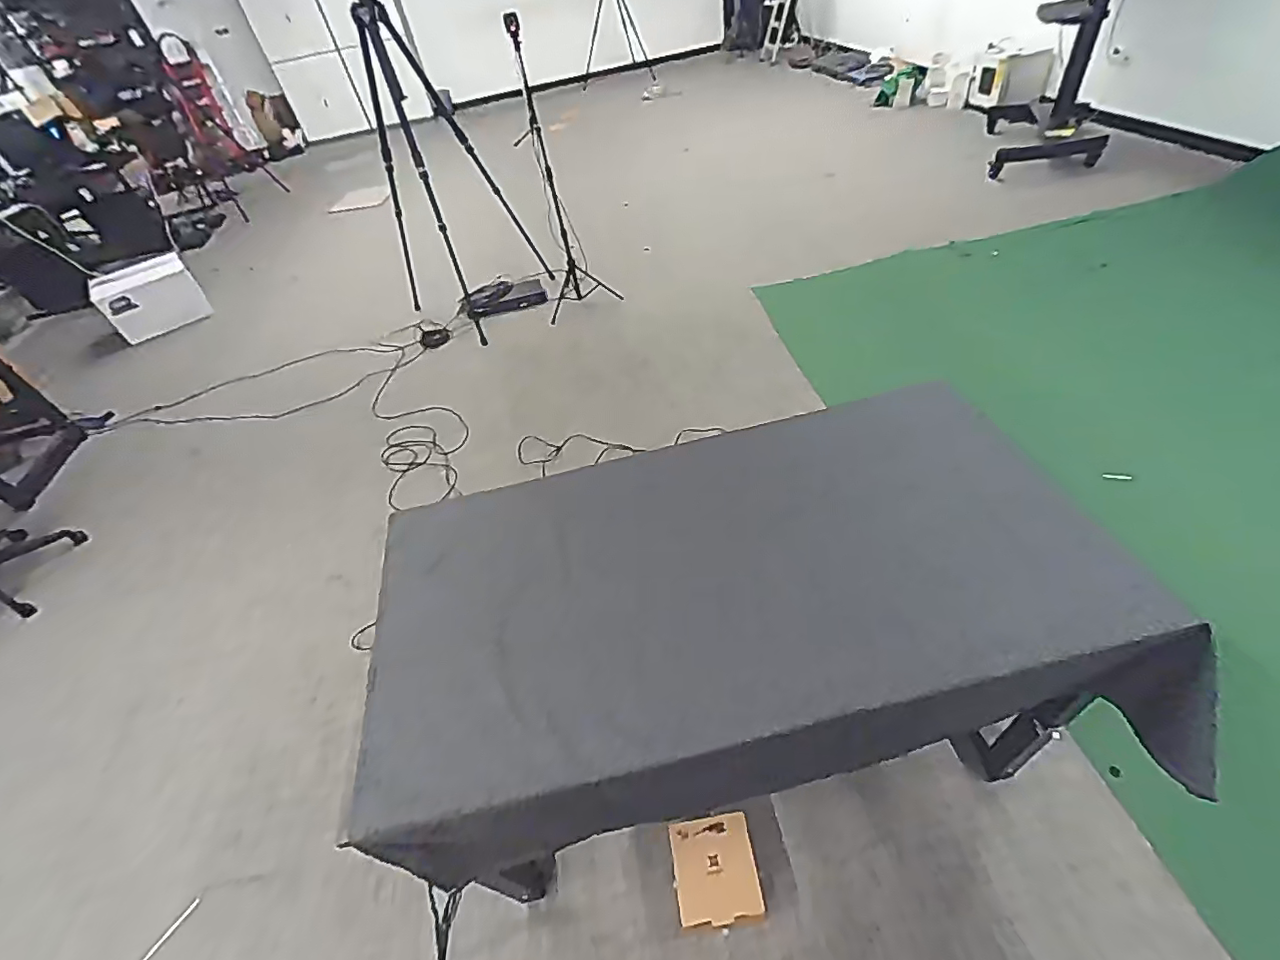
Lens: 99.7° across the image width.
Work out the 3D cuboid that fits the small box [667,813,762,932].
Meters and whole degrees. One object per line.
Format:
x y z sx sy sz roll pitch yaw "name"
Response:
0.158 0.830 1.139 0.168 0.176 0.179 -11 45 2 "small box"
